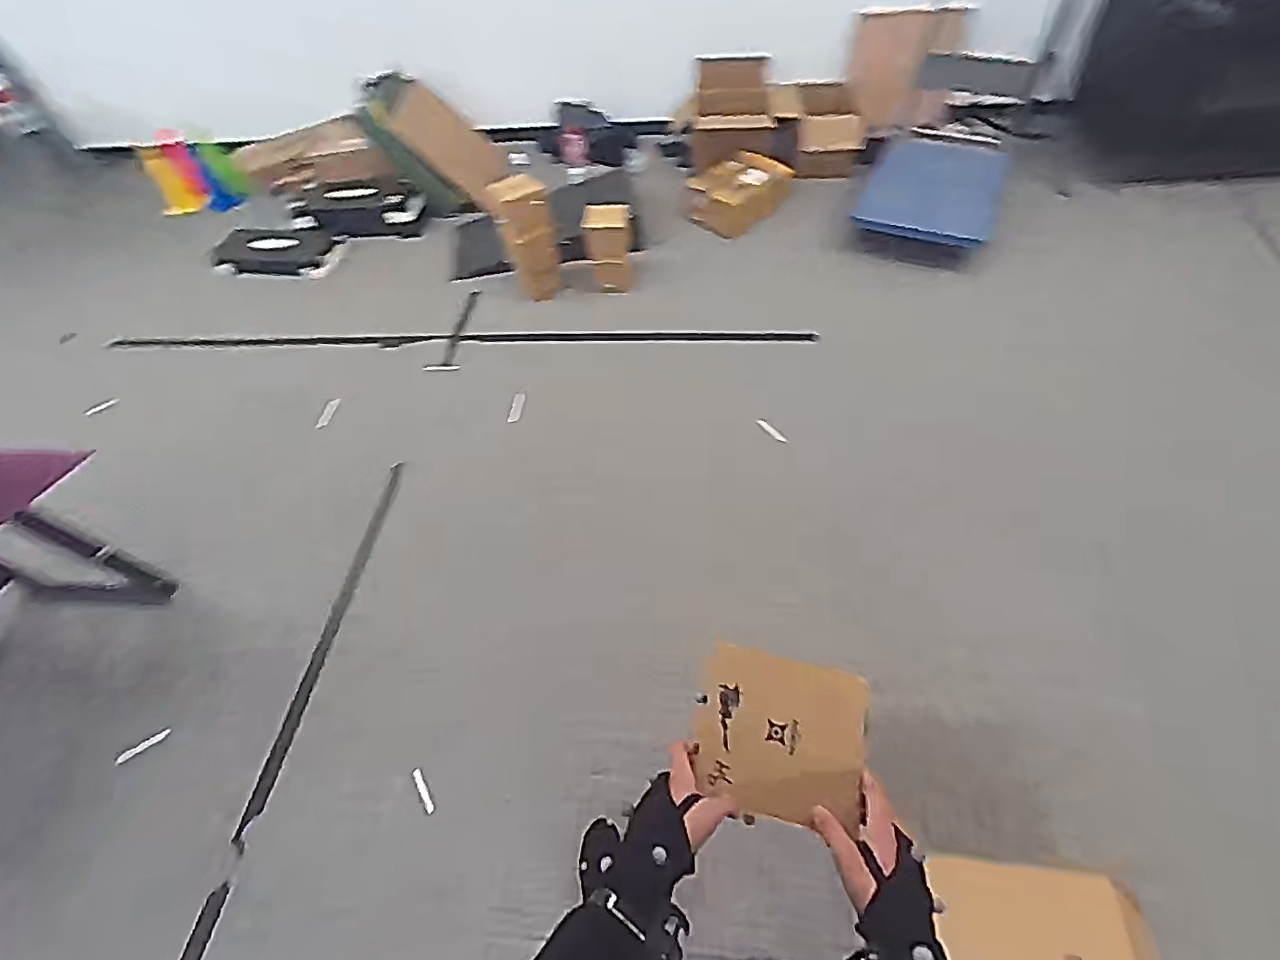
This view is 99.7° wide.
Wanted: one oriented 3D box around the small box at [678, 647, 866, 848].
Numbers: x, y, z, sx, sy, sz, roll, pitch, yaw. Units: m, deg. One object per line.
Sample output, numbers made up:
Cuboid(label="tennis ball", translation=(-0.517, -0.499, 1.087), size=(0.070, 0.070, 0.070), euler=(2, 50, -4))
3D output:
Cuboid(label="small box", translation=(0.151, 0.315, 0.655), size=(0.179, 0.176, 0.168), euler=(12, 64, 6))
